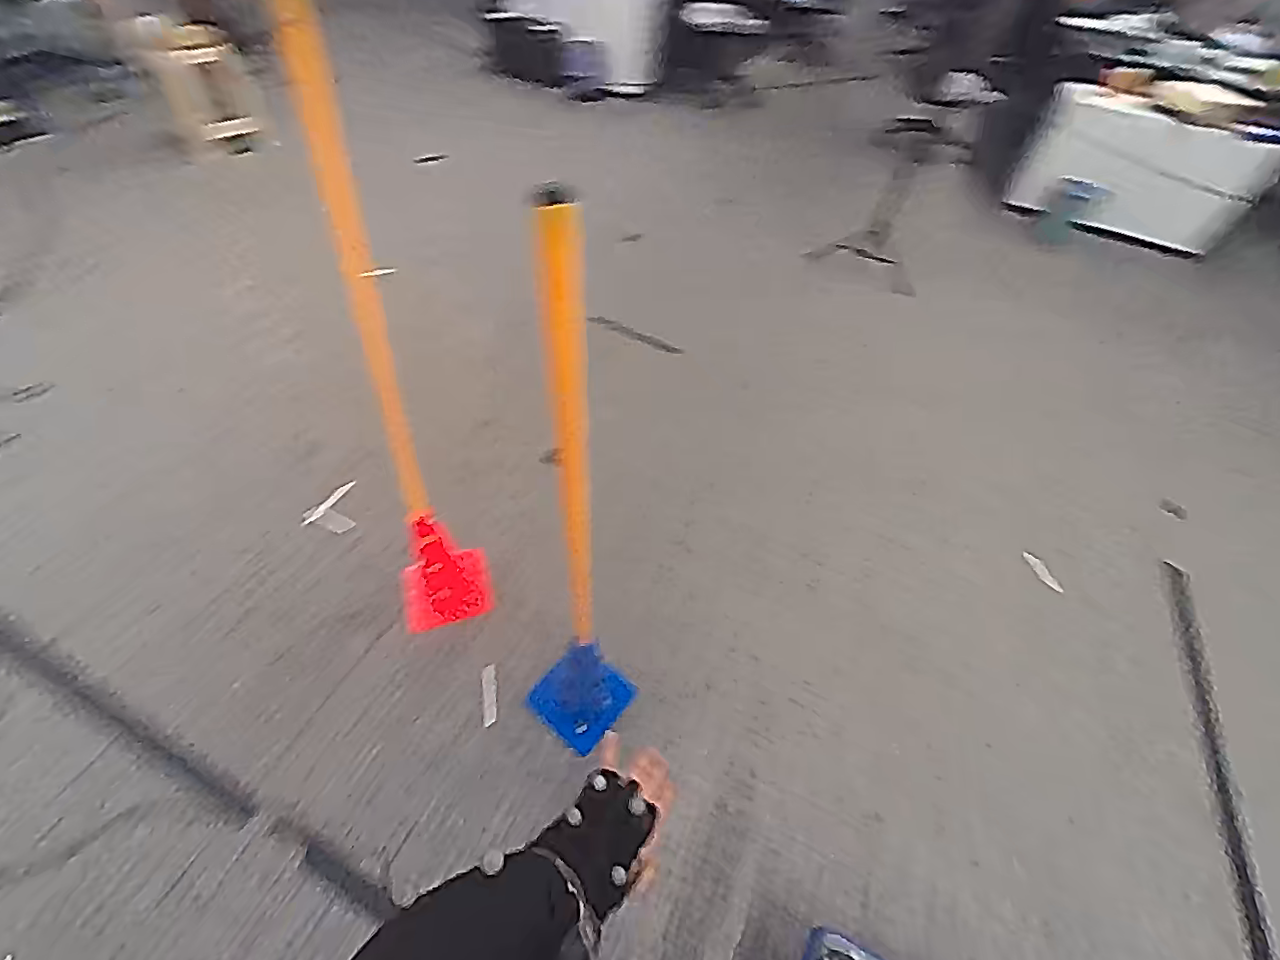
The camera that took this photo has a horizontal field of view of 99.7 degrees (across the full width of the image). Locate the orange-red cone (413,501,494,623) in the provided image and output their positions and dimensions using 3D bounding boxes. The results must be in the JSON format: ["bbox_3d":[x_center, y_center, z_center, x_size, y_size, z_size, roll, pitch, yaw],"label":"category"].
[{"bbox_3d":[-0.479,0.166,1.294,0.198,0.360,0.199,-12,55,-15],"label":"orange-red cone"}]

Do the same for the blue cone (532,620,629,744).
[{"bbox_3d":[-0.126,0.404,1.168,0.192,0.380,0.193,36,56,21],"label":"blue cone"}]
